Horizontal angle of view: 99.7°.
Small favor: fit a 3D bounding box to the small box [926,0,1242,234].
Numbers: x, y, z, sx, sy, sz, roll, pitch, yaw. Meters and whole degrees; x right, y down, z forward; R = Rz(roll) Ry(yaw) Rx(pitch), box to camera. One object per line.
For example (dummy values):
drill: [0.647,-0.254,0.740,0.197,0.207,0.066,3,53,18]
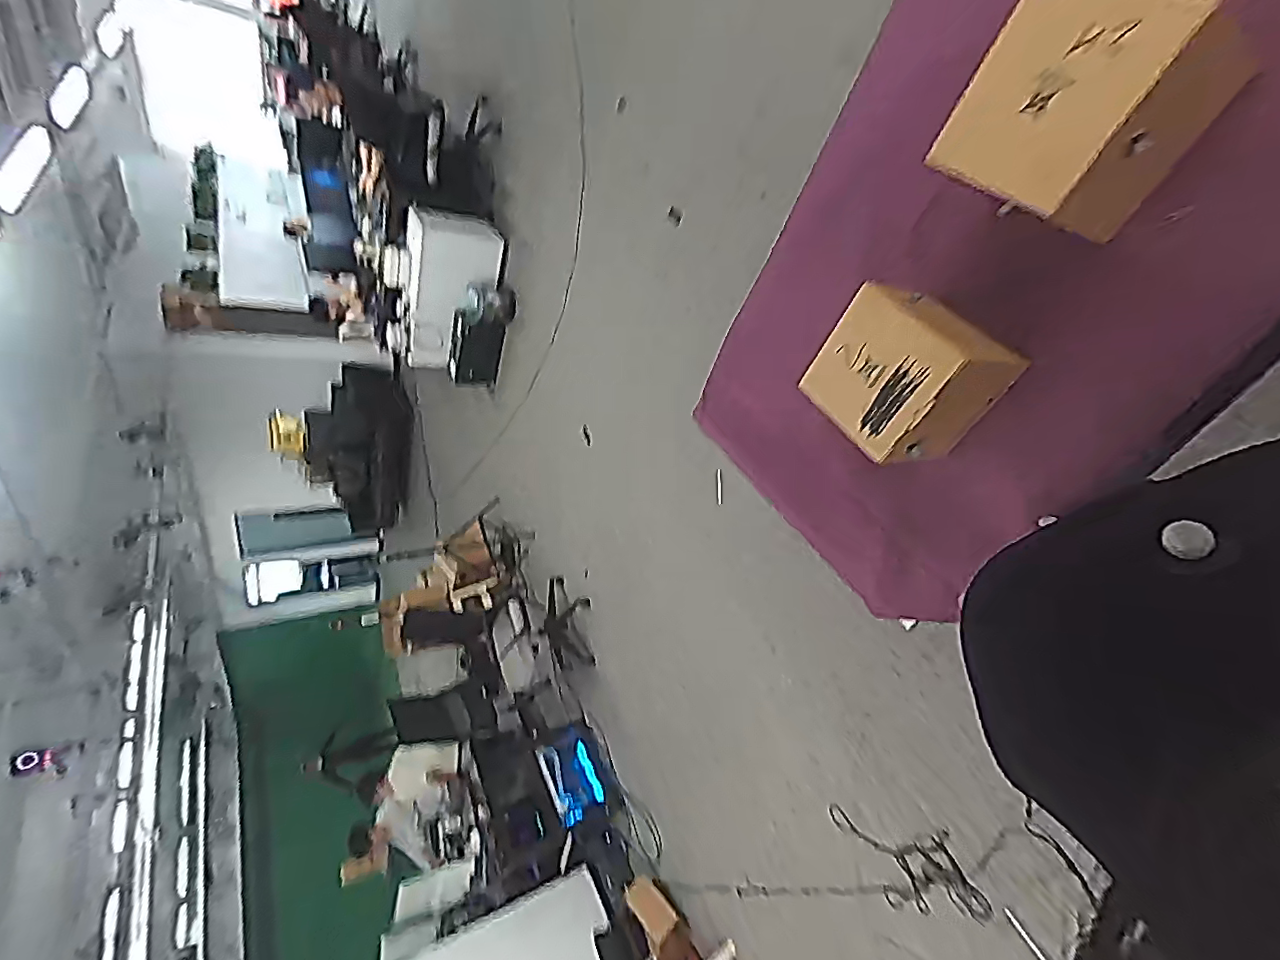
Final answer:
small box: [0.458,-0.384,0.569,0.168,0.176,0.179,57,137,34]
